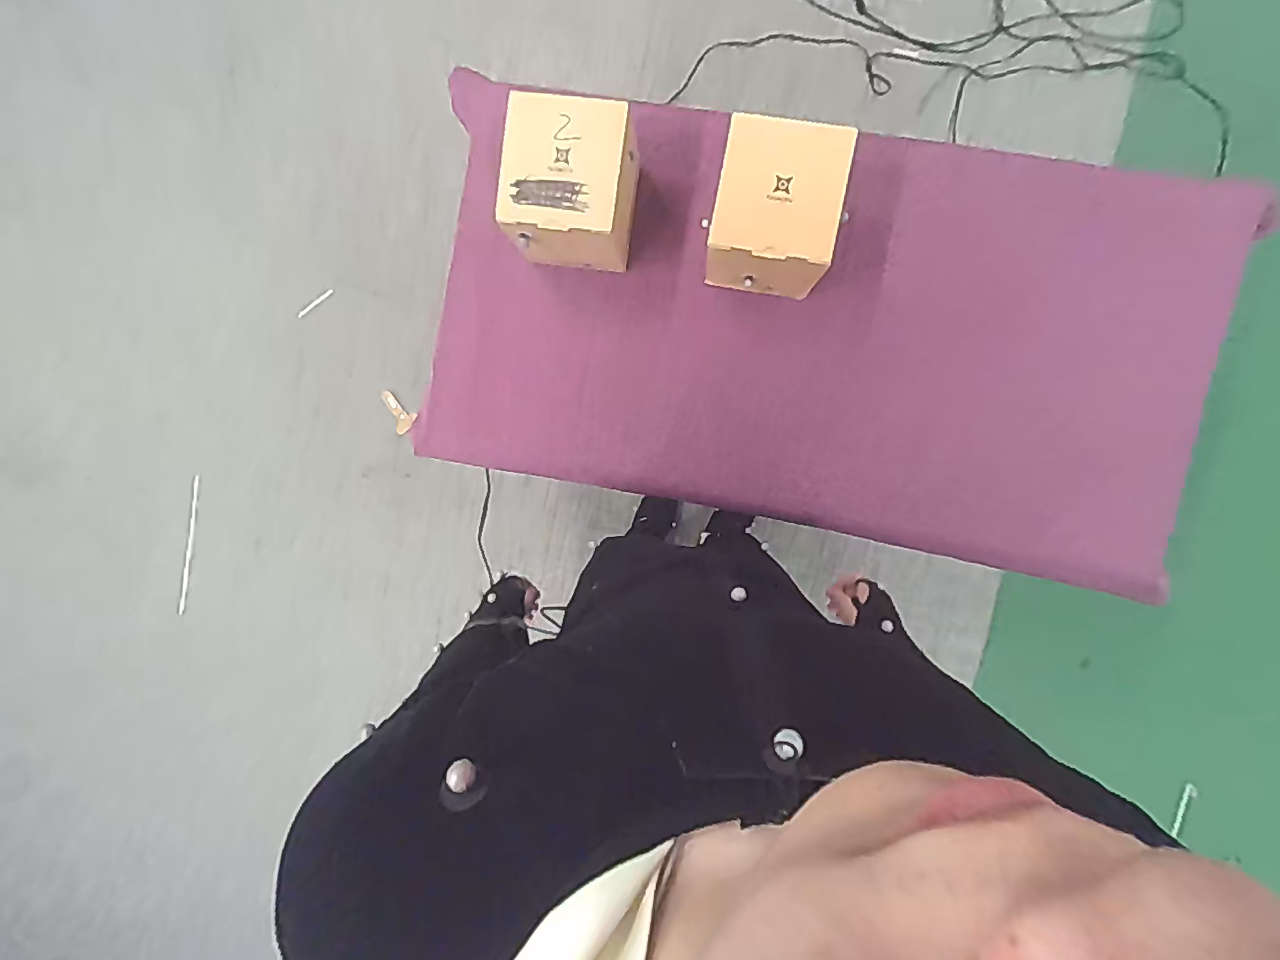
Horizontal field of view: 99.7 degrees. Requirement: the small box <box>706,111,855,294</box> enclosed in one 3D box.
[{"bbox_3d":[0.192,-0.392,0.791,0.168,0.176,0.179,11,96,5],"label":"small box"}]
